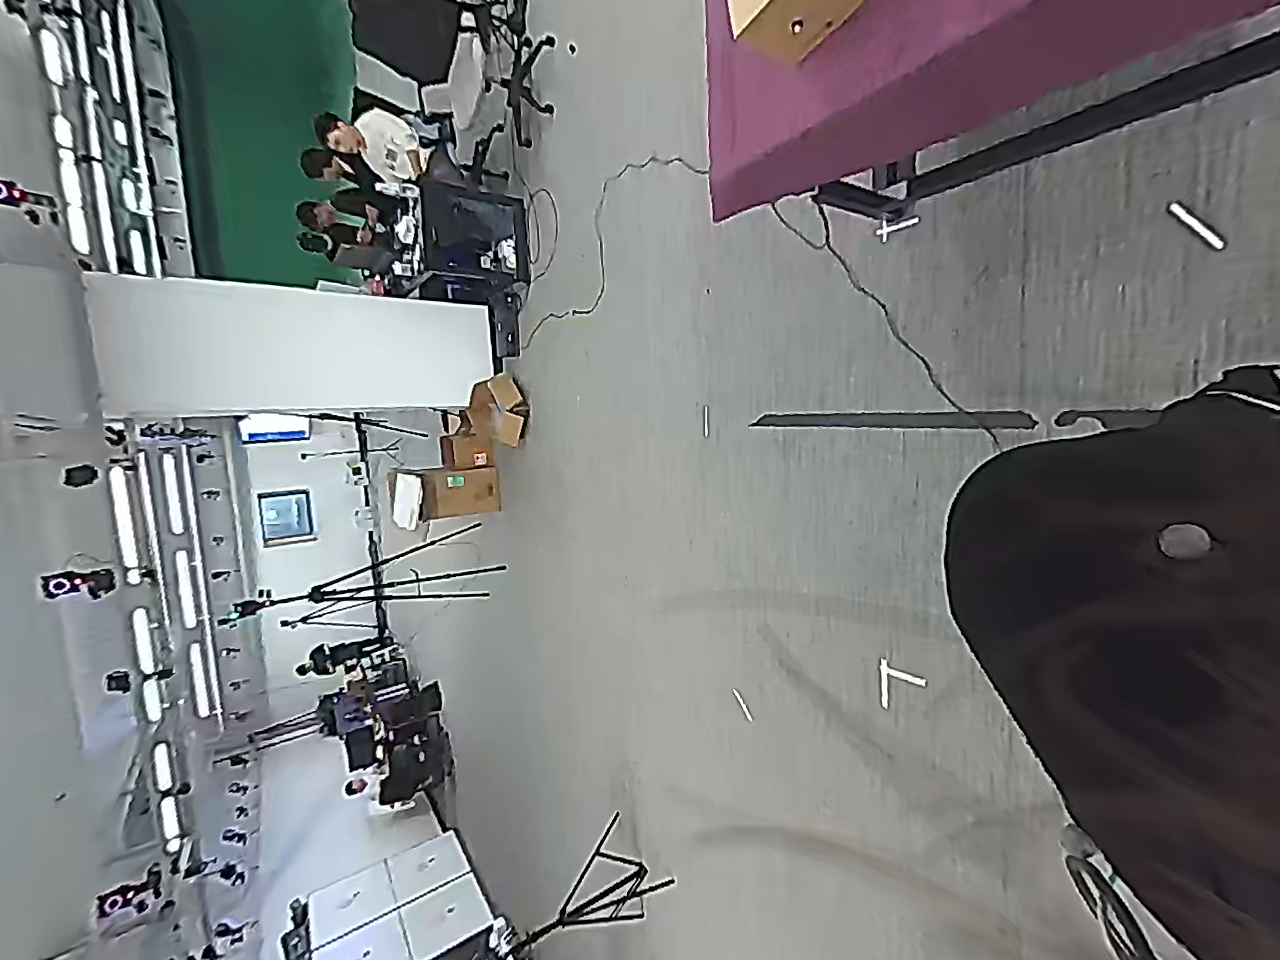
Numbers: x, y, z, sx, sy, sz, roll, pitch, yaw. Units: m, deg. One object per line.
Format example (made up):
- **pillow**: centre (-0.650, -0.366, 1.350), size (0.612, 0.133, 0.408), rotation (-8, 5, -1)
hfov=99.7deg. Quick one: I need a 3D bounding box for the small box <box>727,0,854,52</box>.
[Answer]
- **small box**: centre (0.269, -0.919, 0.972), size (0.168, 0.176, 0.179), rotation (-8, 89, 56)
